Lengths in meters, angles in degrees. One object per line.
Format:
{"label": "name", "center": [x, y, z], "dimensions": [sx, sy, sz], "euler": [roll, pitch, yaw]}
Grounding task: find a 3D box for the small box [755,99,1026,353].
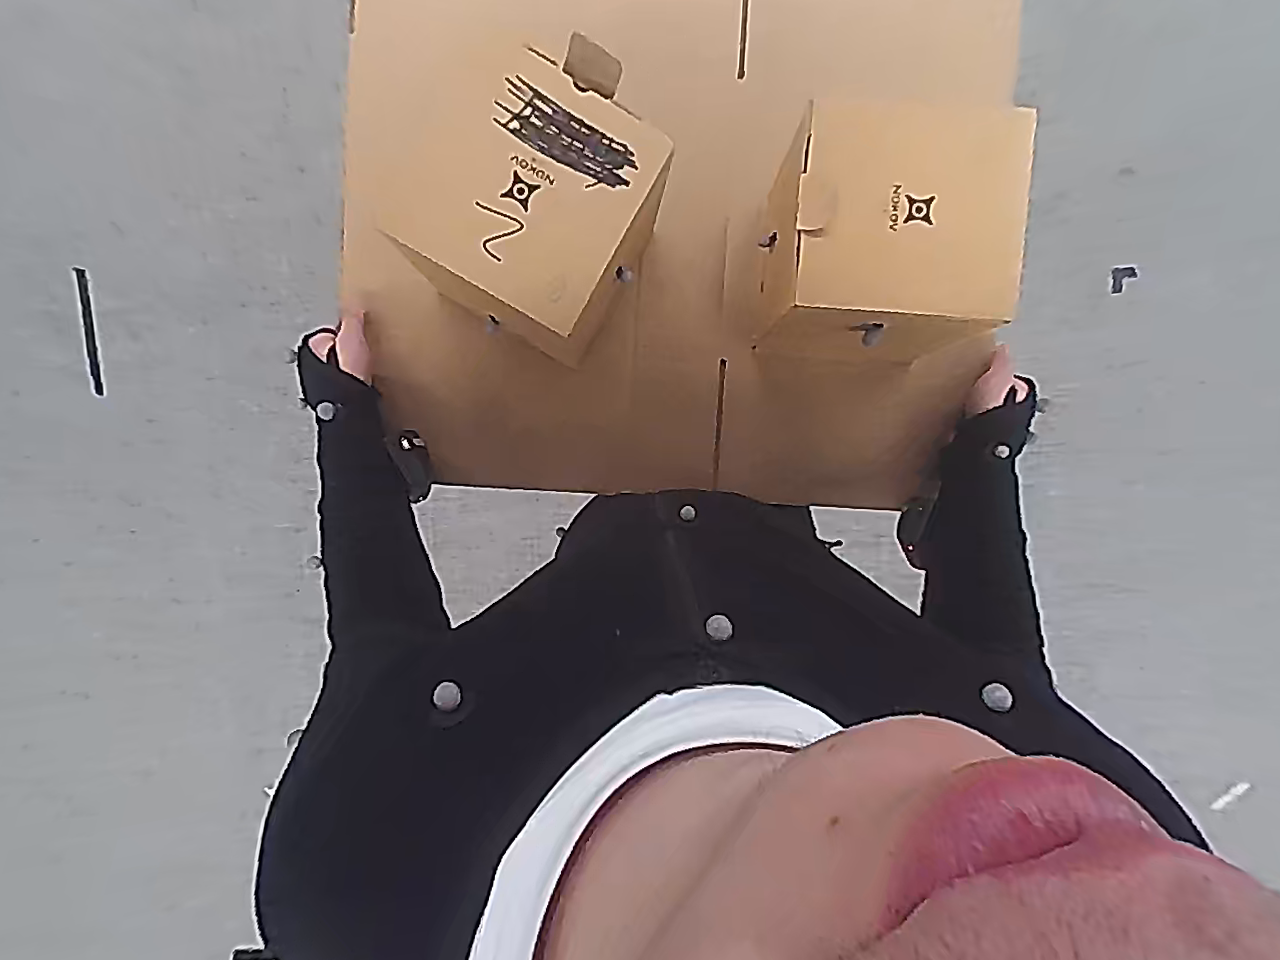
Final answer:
{"label": "small box", "center": [0.218, -0.222, 0.517], "dimensions": [0.179, 0.176, 0.168], "euler": [4, 92, 2]}
